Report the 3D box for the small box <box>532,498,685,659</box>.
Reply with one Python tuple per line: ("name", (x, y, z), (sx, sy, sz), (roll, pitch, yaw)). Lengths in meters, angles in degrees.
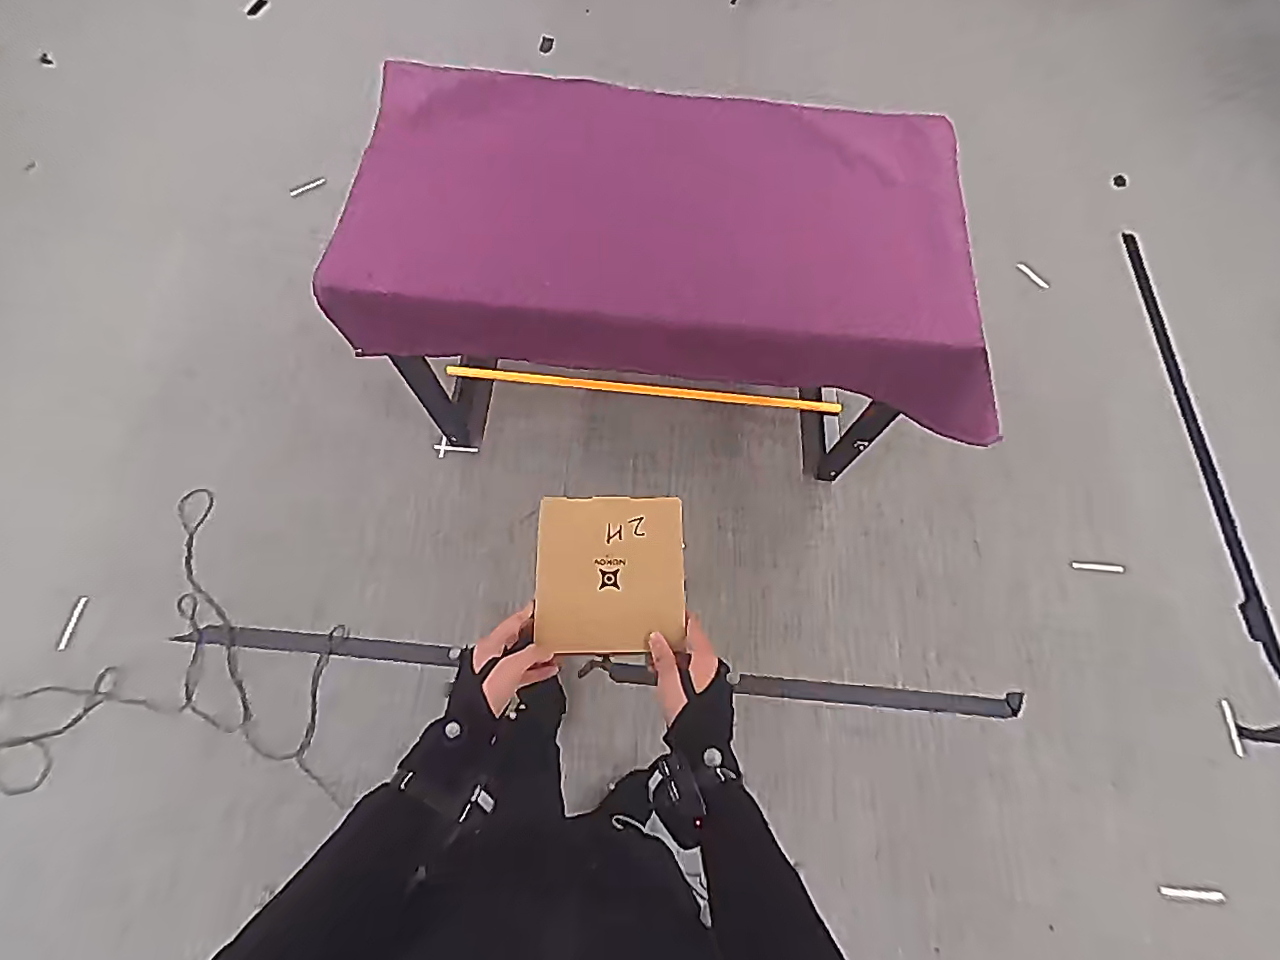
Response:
("small box", (-0.033, 0.129, 0.671), (0.168, 0.176, 0.179), (1, 71, -2))
